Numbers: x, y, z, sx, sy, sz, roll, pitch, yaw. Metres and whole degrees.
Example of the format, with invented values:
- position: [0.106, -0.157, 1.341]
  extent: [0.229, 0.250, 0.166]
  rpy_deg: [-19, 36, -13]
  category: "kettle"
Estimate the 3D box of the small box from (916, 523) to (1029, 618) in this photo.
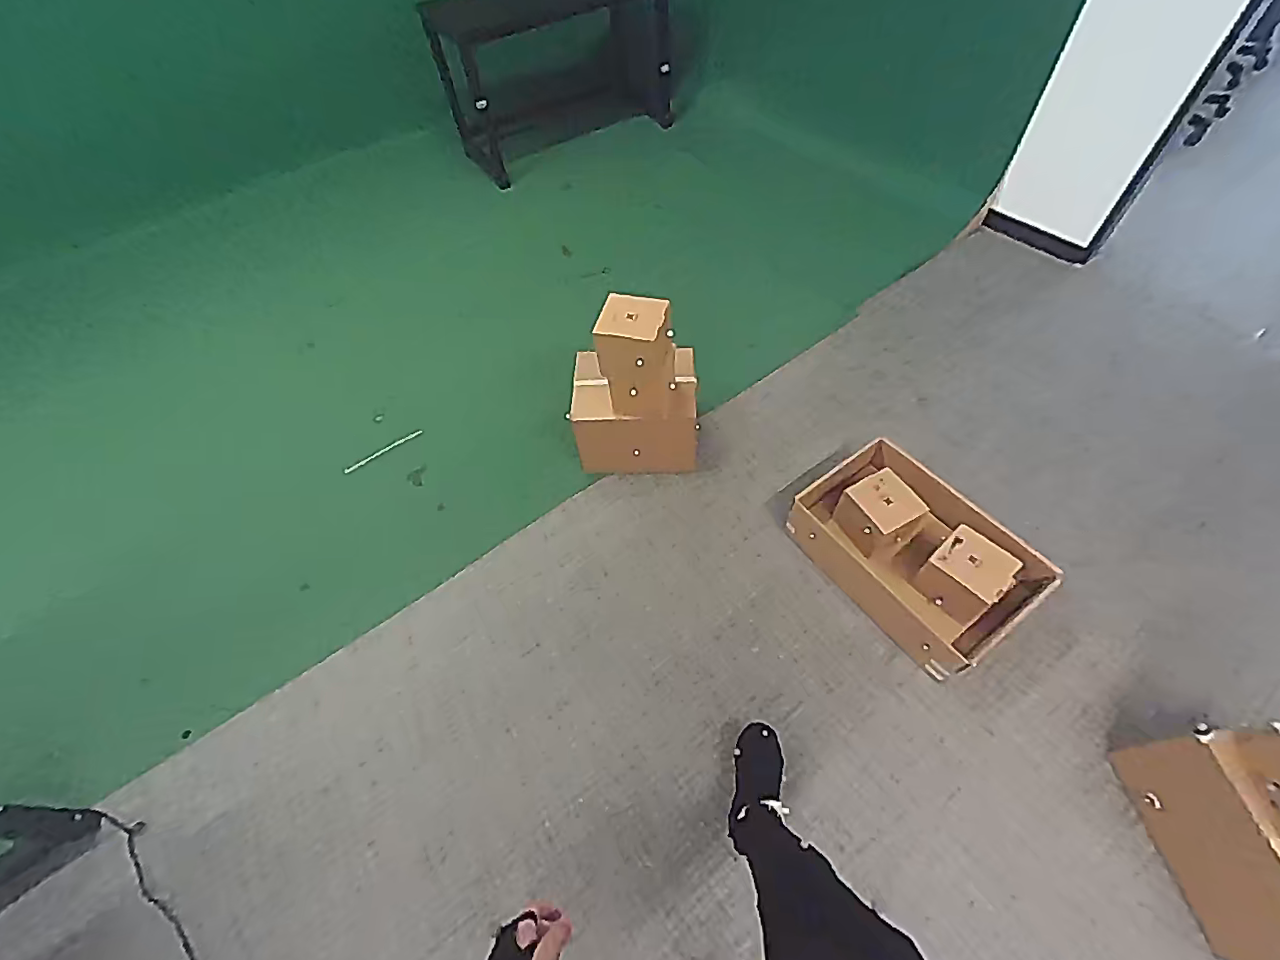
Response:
- position: [0.903, 0.258, 1.484]
  extent: [0.168, 0.176, 0.179]
  rpy_deg: [-38, 61, -18]
  category: "small box"

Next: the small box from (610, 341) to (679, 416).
- position: [0.021, -0.313, 1.646]
  extent: [0.179, 0.176, 0.168]
  rpy_deg: [8, 60, 11]
  category: "small box"

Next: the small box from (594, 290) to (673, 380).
- position: [-0.008, -0.400, 1.510]
  extent: [0.179, 0.176, 0.168]
  rpy_deg: [11, 59, 13]
  category: "small box"

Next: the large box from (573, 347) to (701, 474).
- position: [0.003, -0.234, 1.888]
  extent: [0.408, 0.320, 0.320]
  rpy_deg: [-2, 55, 5]
  category: "large box"
